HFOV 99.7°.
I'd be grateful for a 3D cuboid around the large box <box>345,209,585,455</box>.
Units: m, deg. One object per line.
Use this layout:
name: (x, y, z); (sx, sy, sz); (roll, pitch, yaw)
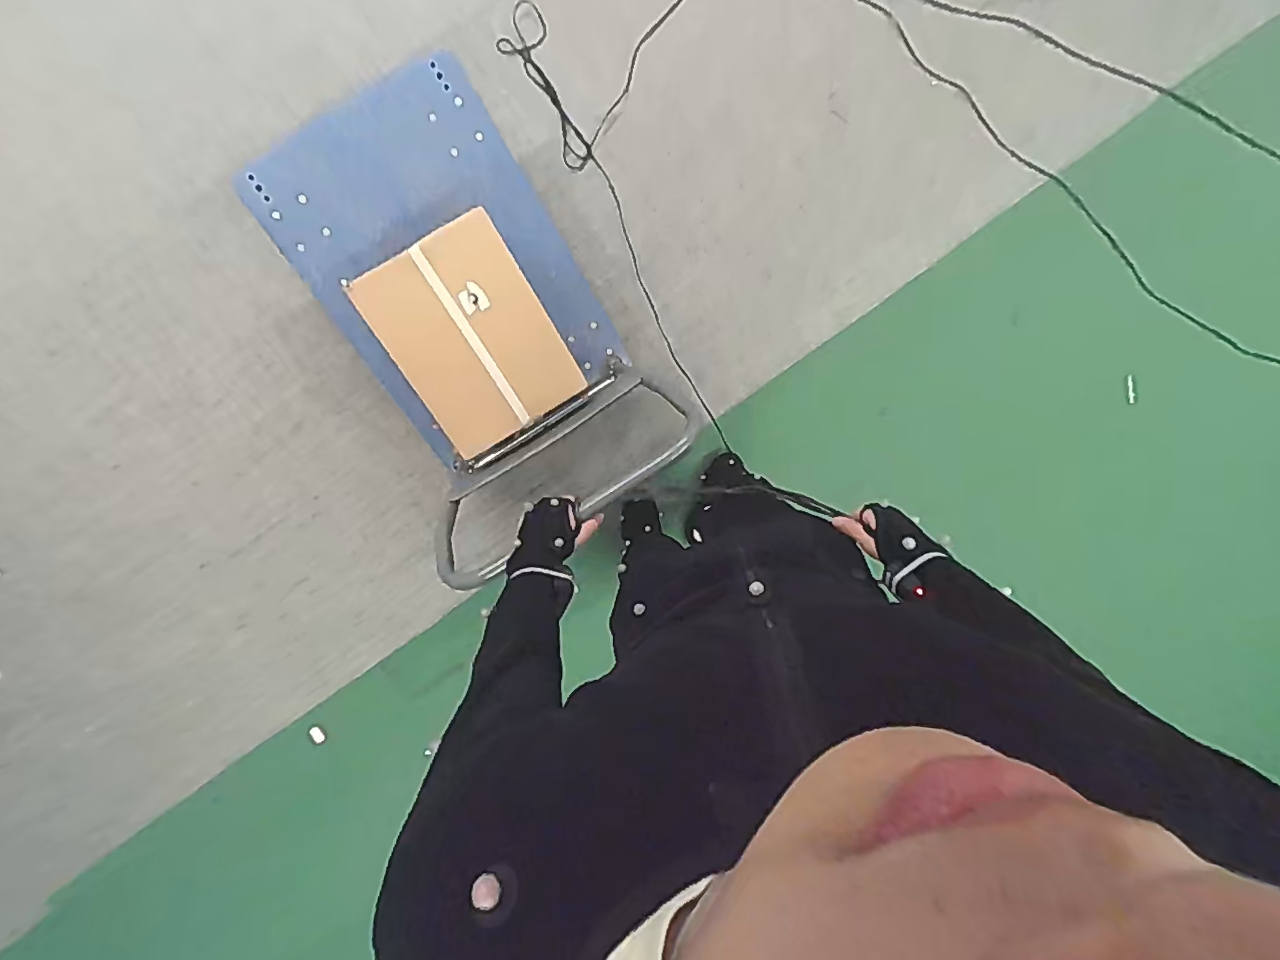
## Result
large box: (-0.367, -0.323, 1.243); (0.320, 0.320, 0.408); (-32, 107, -3)
